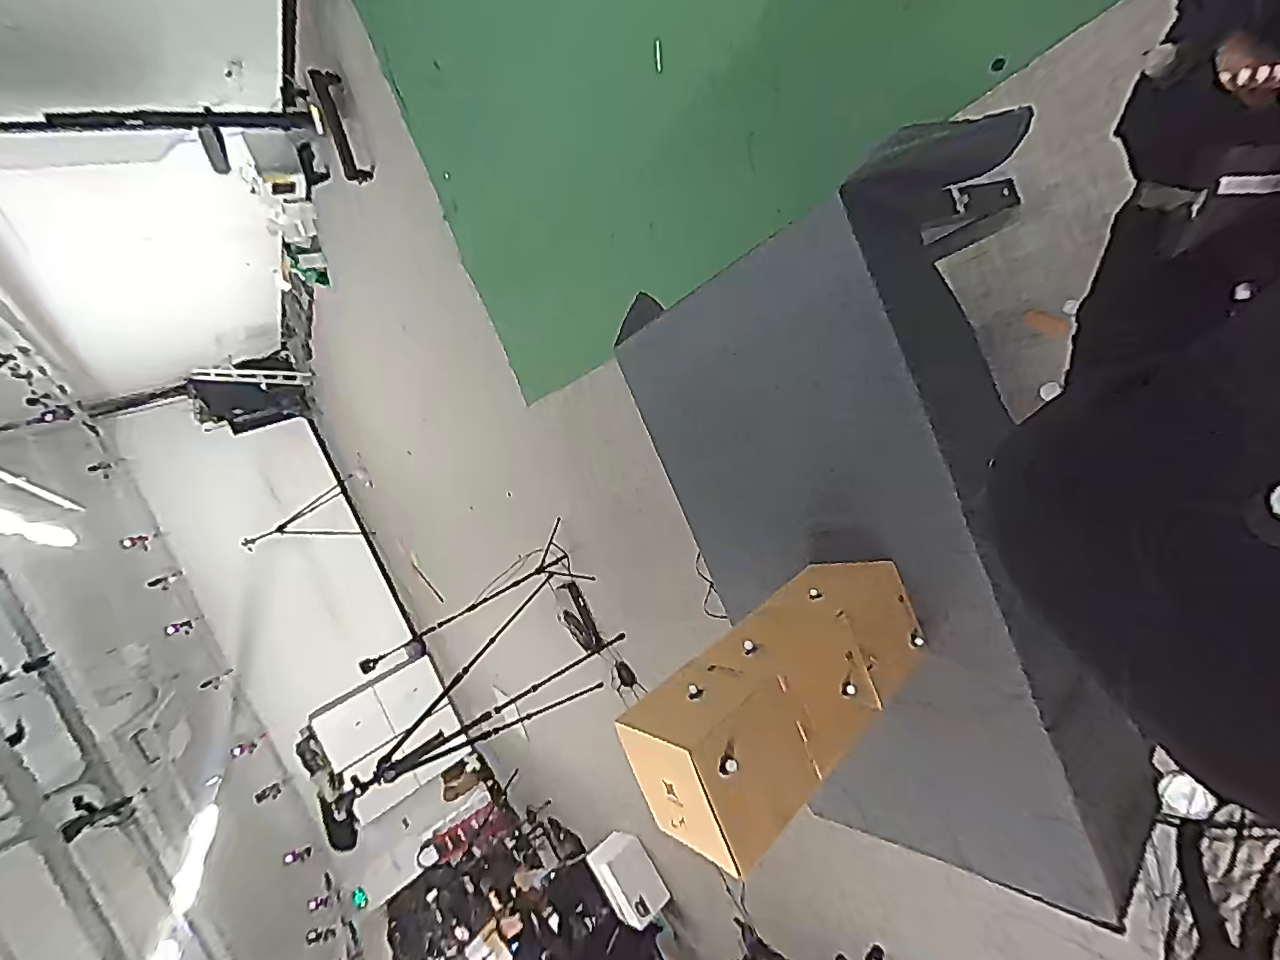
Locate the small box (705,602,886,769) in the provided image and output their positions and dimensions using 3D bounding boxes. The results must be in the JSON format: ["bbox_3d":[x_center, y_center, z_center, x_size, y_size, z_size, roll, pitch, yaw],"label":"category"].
[{"bbox_3d":[0.239,0.300,0.834,0.179,0.176,0.168,-18,97,55],"label":"small box"}]

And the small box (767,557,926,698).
[{"bbox_3d":[0.359,0.242,0.925,0.179,0.176,0.168,-18,97,56],"label":"small box"}]

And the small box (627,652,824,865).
[{"bbox_3d":[0.117,0.358,0.739,0.168,0.176,0.179,-15,99,55],"label":"small box"}]
